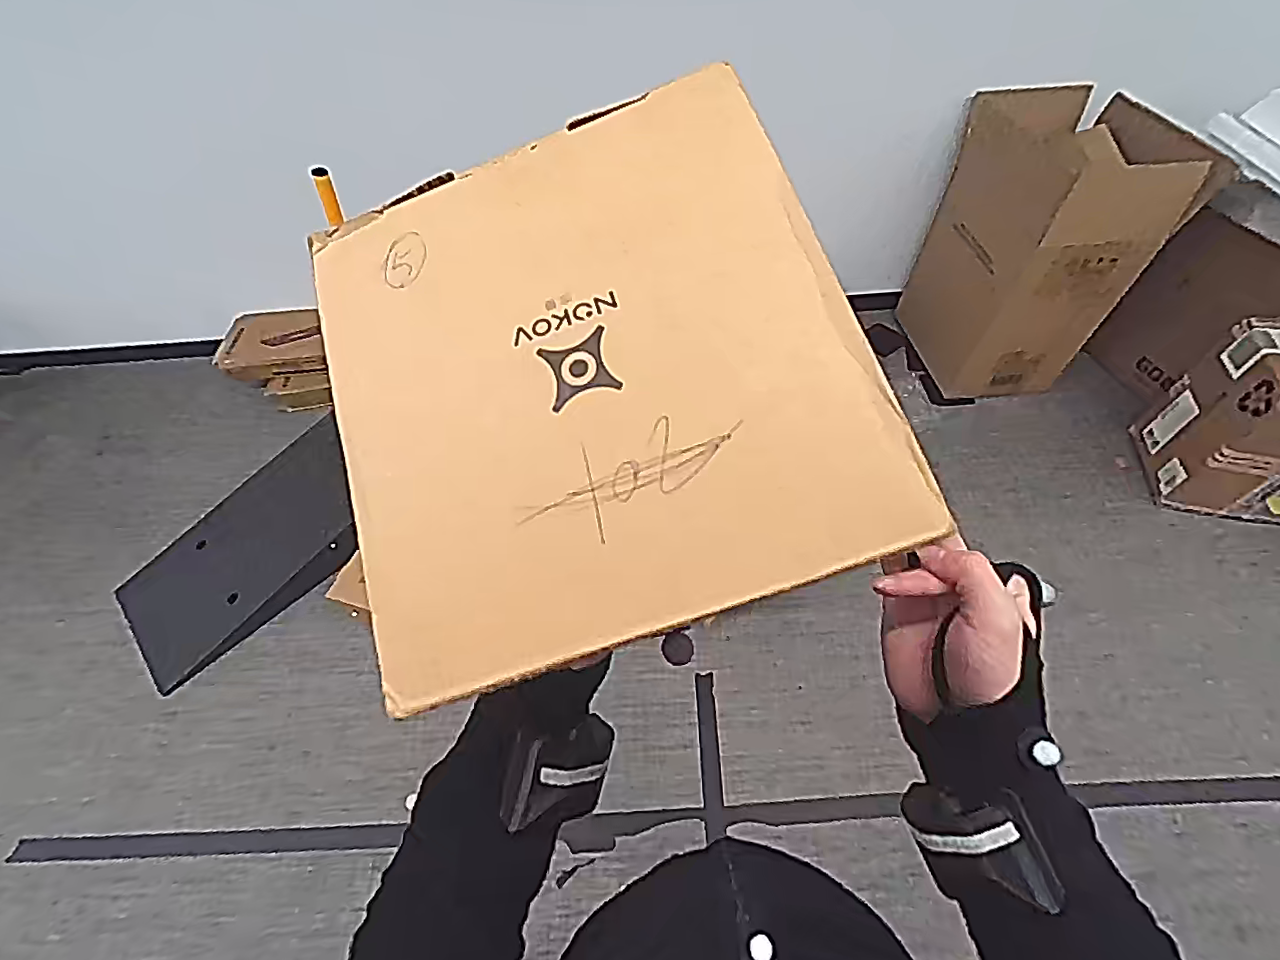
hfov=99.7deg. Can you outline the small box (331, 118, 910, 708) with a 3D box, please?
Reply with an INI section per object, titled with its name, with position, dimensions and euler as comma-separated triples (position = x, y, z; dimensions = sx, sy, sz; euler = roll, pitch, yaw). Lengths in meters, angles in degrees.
[small box]
position = -0.009, -0.013, 0.261
dimensions = 0.168, 0.176, 0.179
euler = -19, 75, 6
